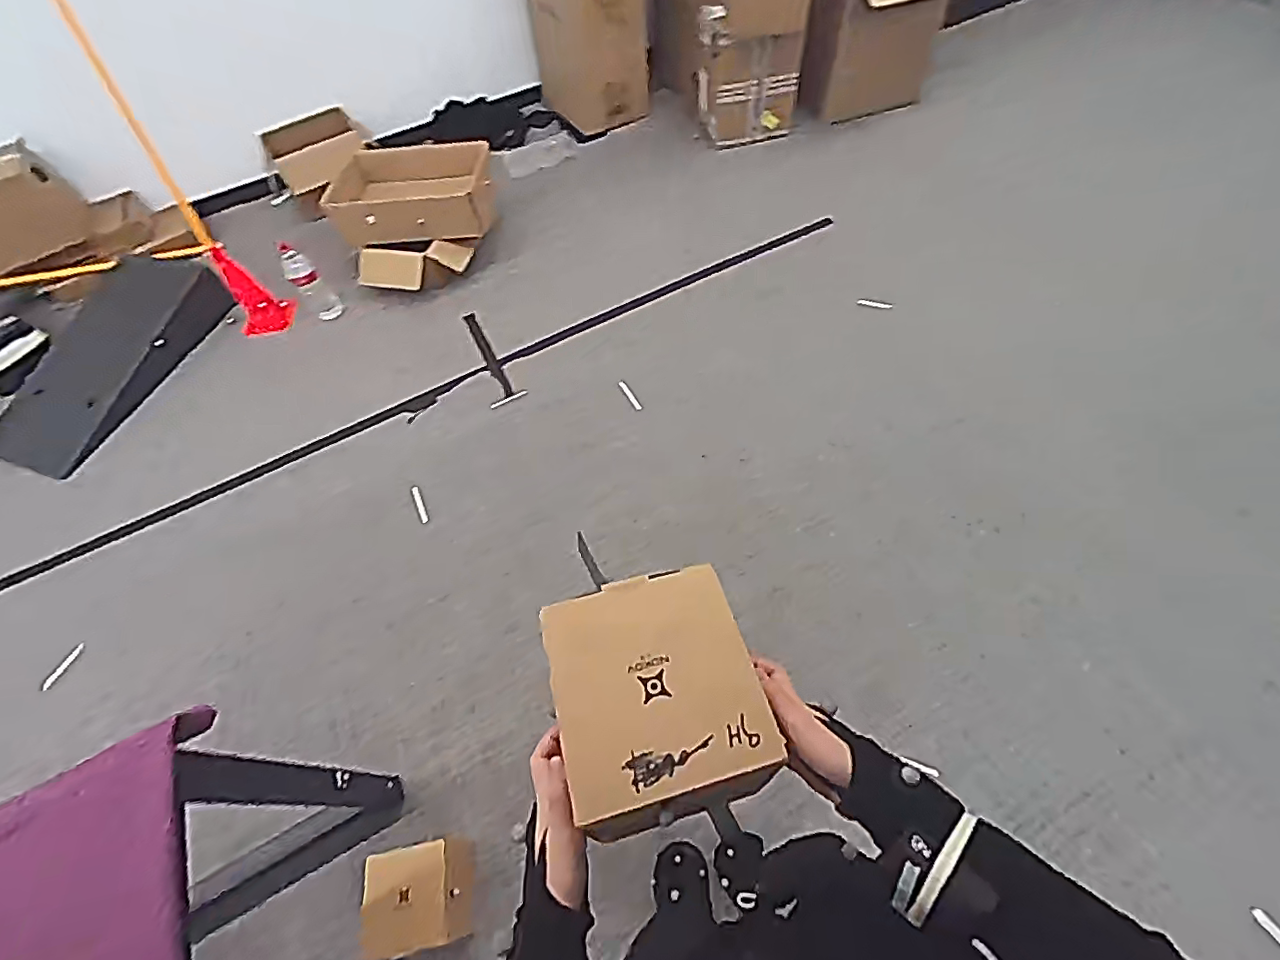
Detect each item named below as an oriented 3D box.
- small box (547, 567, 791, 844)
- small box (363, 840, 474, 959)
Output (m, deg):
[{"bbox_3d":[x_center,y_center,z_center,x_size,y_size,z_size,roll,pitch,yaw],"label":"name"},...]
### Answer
[{"bbox_3d":[0.017,0.212,0.504,0.168,0.176,0.179,-13,53,-7],"label":"small box"},{"bbox_3d":[-0.458,0.880,1.143,0.168,0.176,0.179,-12,59,-2],"label":"small box"}]
